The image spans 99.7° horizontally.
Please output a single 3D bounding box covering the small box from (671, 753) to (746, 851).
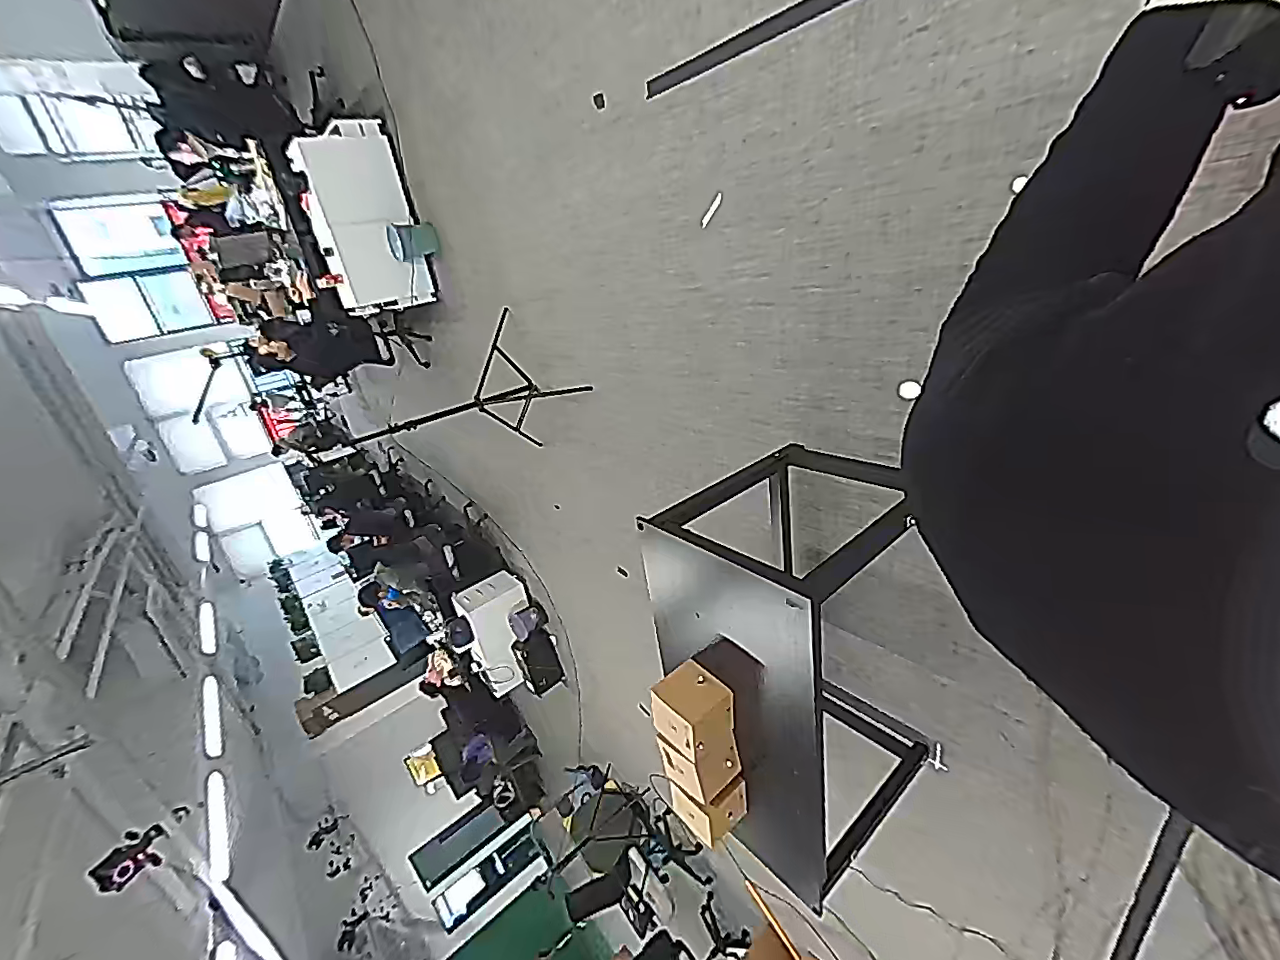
[{"bbox_3d":[0.223,1.017,1.725,0.179,0.176,0.168,24,129,47],"label":"small box"}]
